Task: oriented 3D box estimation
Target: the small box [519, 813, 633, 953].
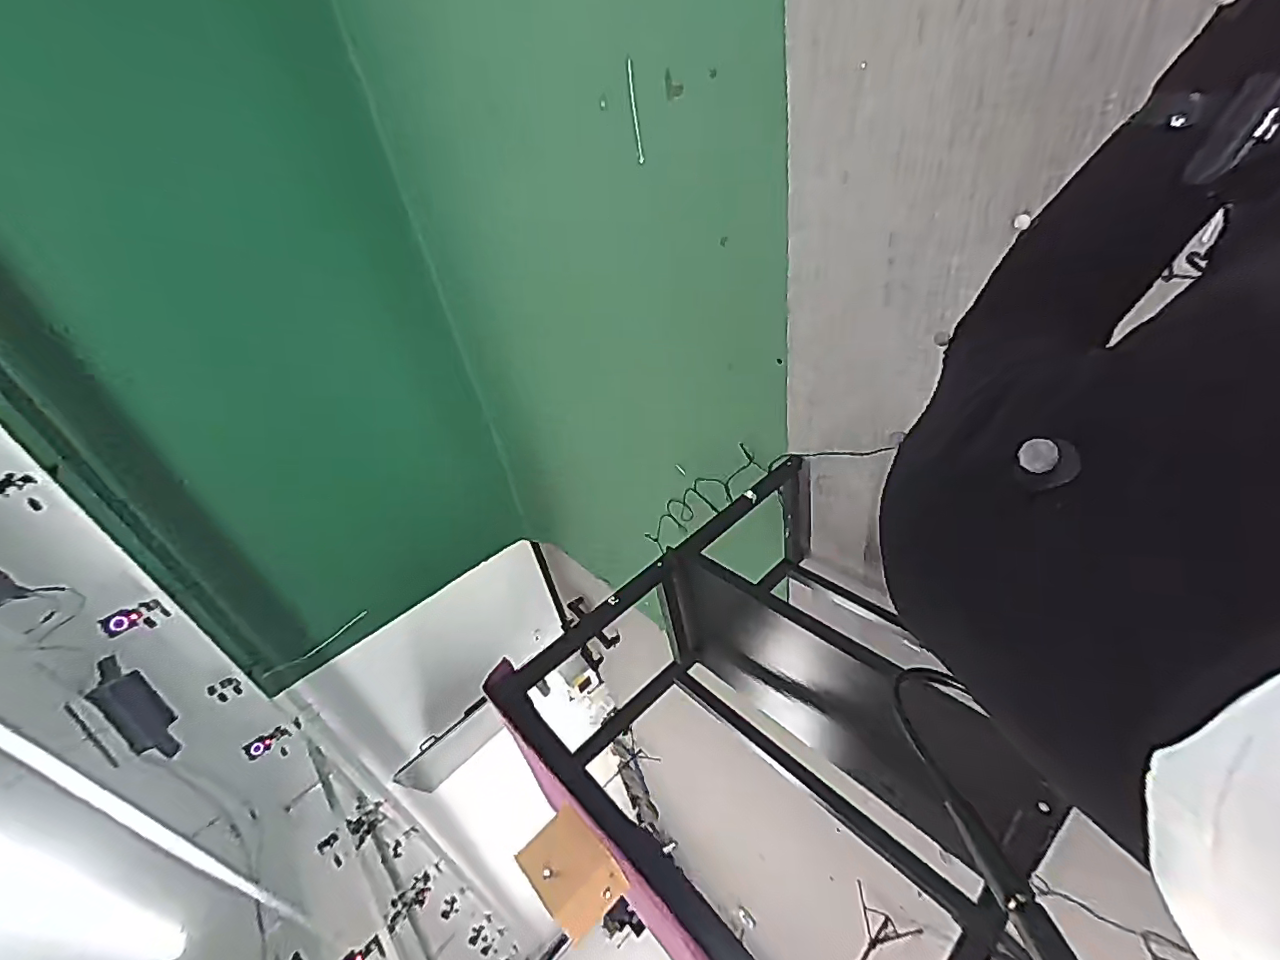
[{"bbox_3d":[-0.143,0.909,1.241,0.179,0.176,0.168,21,137,45],"label":"small box"}]
